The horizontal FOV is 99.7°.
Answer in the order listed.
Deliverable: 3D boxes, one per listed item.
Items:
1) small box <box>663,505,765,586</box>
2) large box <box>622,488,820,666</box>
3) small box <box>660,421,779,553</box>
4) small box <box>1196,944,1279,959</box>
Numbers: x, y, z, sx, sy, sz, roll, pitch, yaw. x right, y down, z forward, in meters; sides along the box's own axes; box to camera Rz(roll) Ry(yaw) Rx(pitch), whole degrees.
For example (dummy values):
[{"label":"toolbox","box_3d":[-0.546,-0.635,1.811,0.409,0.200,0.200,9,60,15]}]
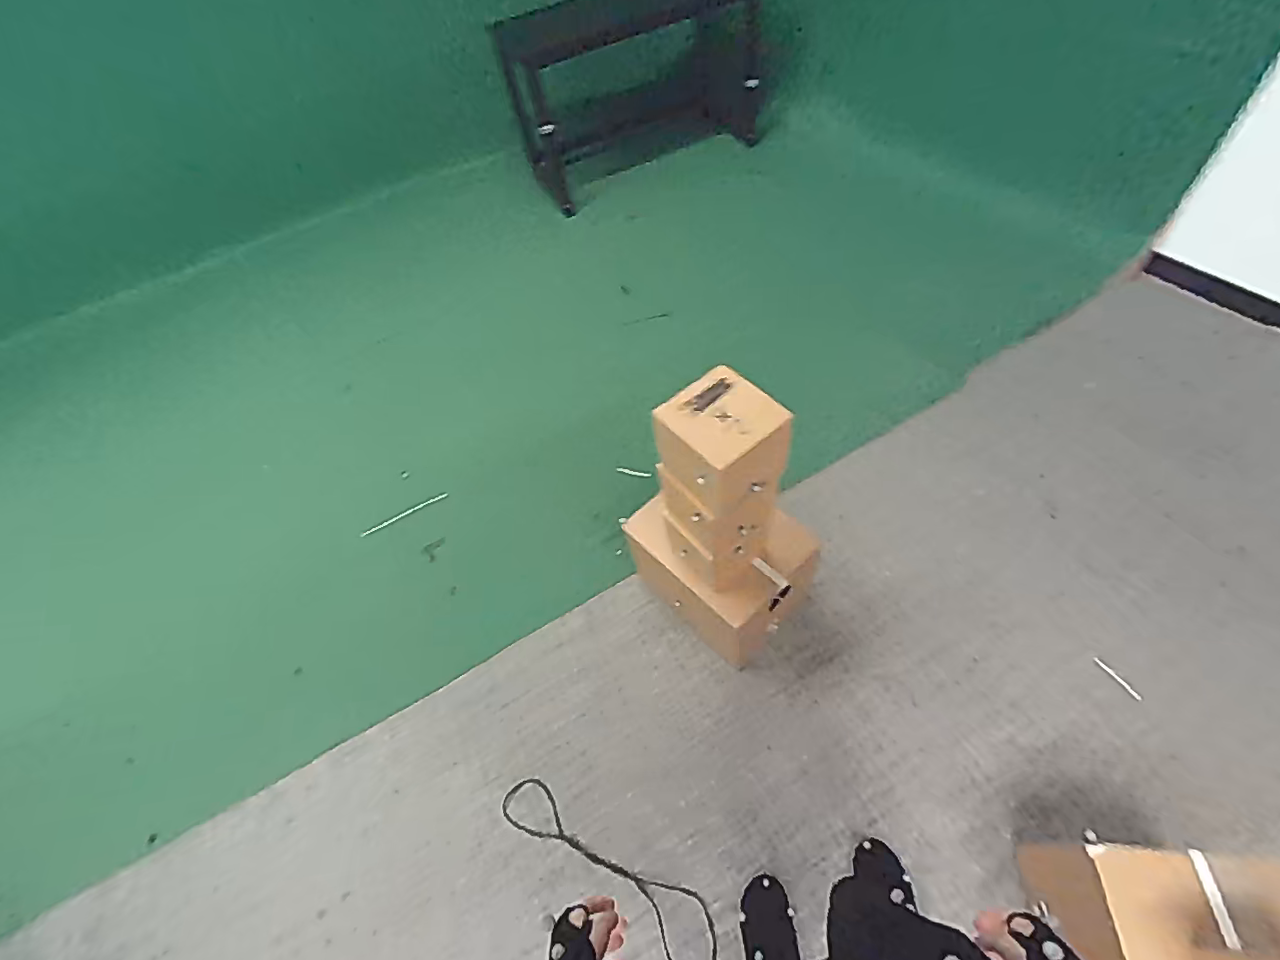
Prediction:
[{"label":"small box","box_3d":[0.177,0.113,1.247,0.179,0.176,0.168,-35,57,-15]},{"label":"large box","box_3d":[0.217,0.221,1.468,0.320,0.320,0.408,-39,57,-19]},{"label":"small box","box_3d":[0.162,0.019,1.116,0.168,0.176,0.179,-34,57,-14]},{"label":"small box","box_3d":[0.895,0.722,0.689,0.168,0.176,0.179,-2,56,6]}]
